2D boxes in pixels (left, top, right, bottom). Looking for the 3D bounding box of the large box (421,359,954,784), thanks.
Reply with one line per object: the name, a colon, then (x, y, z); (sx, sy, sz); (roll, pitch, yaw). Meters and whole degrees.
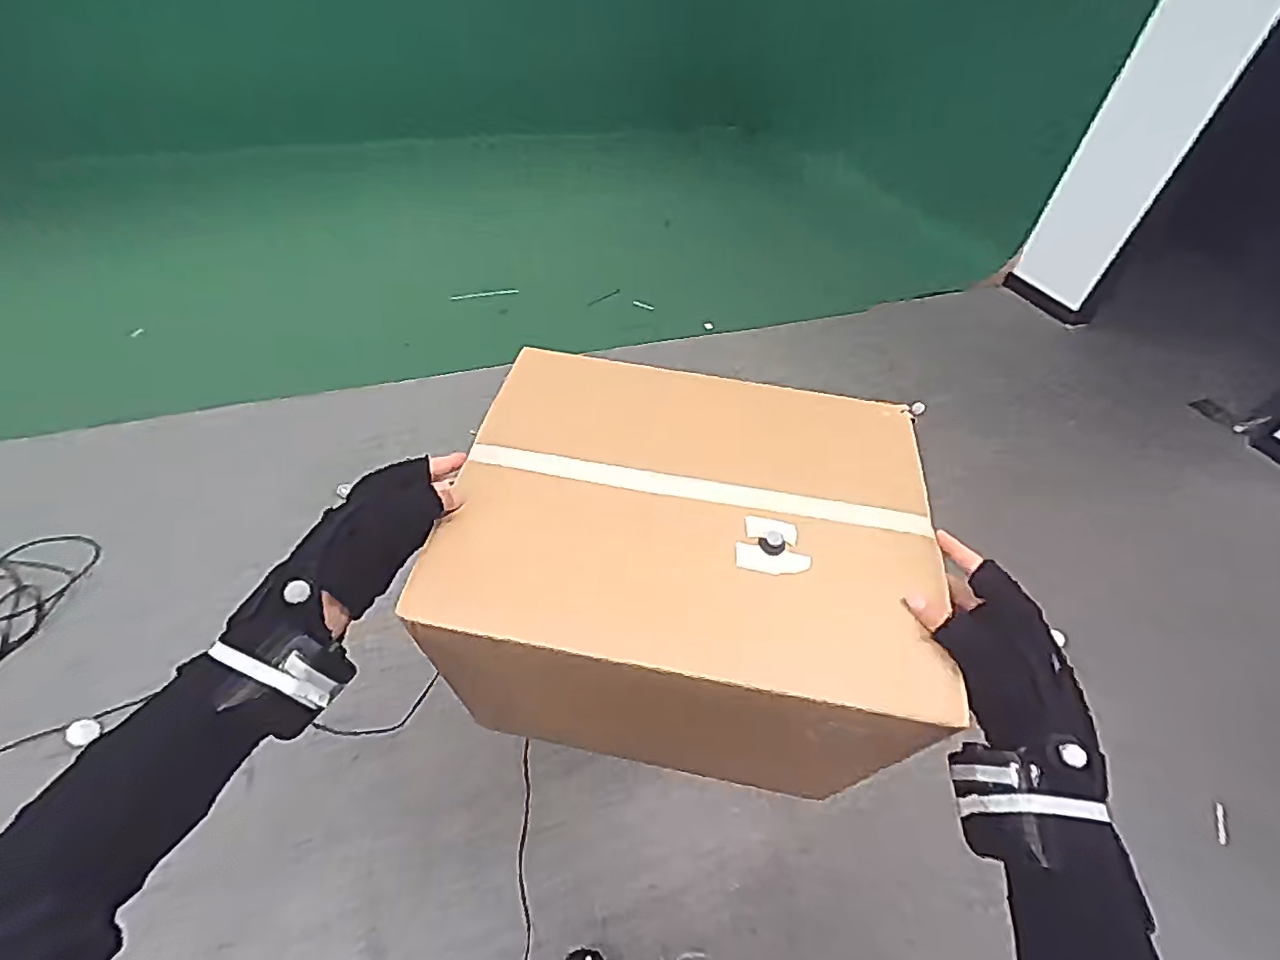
large box: (0.041, 0.107, 0.599); (0.408, 0.320, 0.320); (10, 52, 3)
